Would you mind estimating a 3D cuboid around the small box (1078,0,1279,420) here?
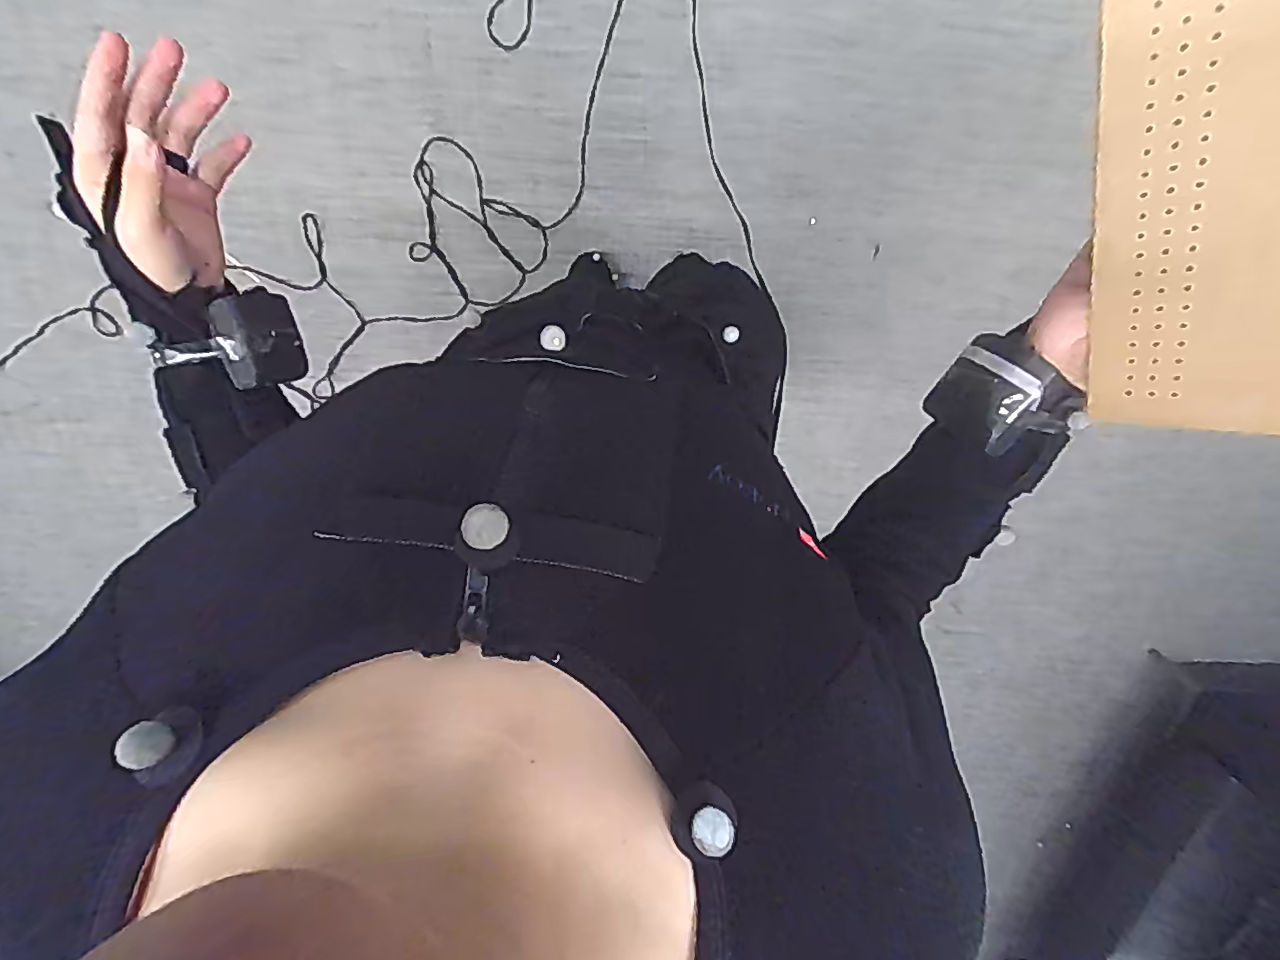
[{"bbox_3d":[0.266,-0.124,0.167,0.168,0.176,0.179,-34,118,-24],"label":"small box"}]
